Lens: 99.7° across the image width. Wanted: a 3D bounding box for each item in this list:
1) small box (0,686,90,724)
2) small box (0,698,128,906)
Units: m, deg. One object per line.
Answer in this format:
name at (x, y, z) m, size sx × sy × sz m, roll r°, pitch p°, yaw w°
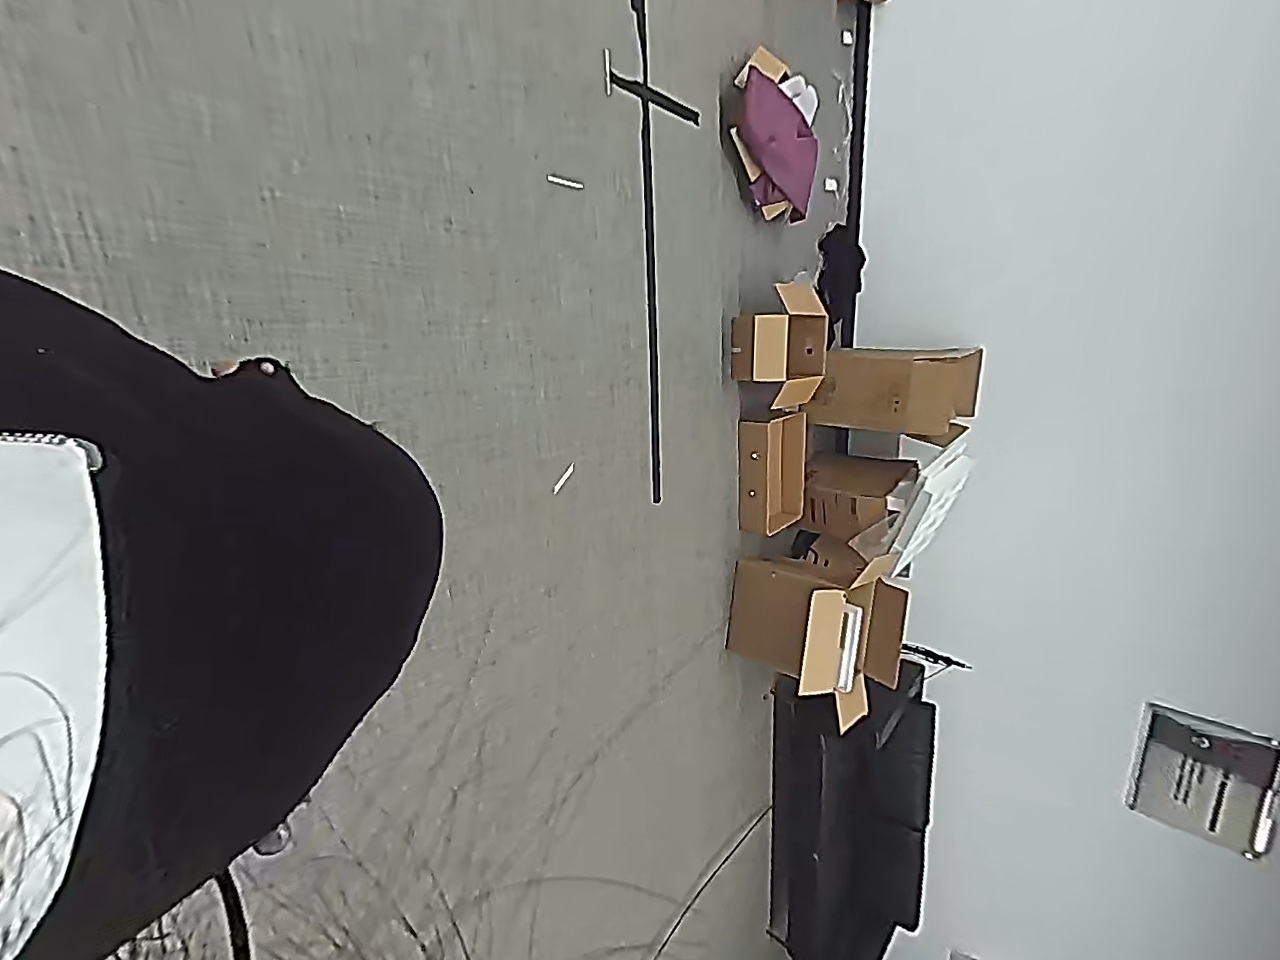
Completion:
small box at (-0.987, 0.422, 0.871) m, size 0.168 × 0.176 × 0.179 m, roll -19°, pitch 112°, yaw -45°
small box at (-0.864, 0.450, 0.765) m, size 0.168 × 0.176 × 0.179 m, roll -21°, pitch 113°, yaw -44°
